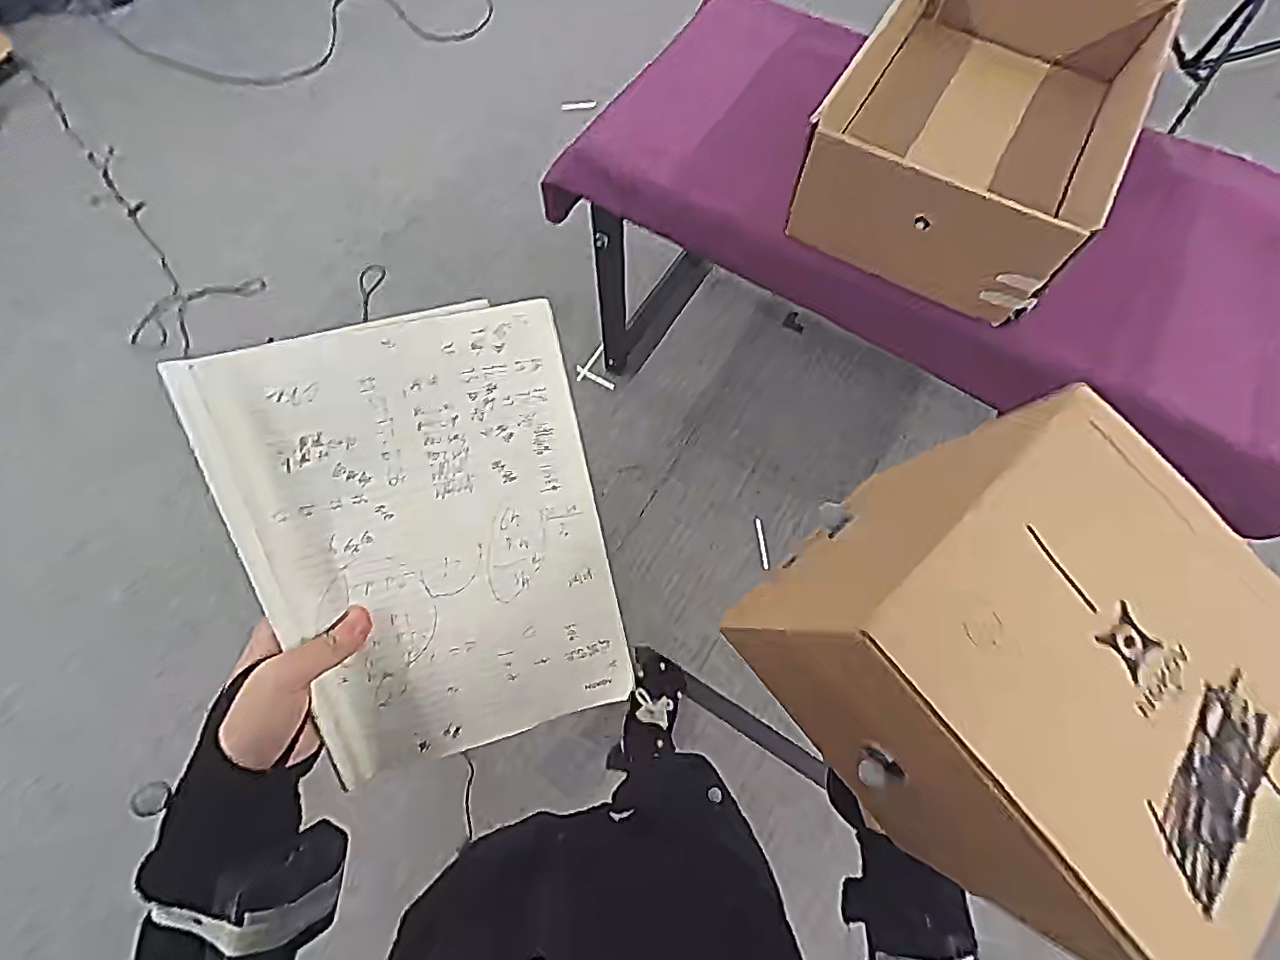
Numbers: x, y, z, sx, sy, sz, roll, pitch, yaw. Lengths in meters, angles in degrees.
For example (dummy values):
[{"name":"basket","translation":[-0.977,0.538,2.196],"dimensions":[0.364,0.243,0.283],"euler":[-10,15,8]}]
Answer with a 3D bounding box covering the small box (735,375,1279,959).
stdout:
[{"name":"small box","translation":[0.184,0.084,0.286],"dimensions":[0.168,0.176,0.179],"euler":[-38,85,-18]}]
